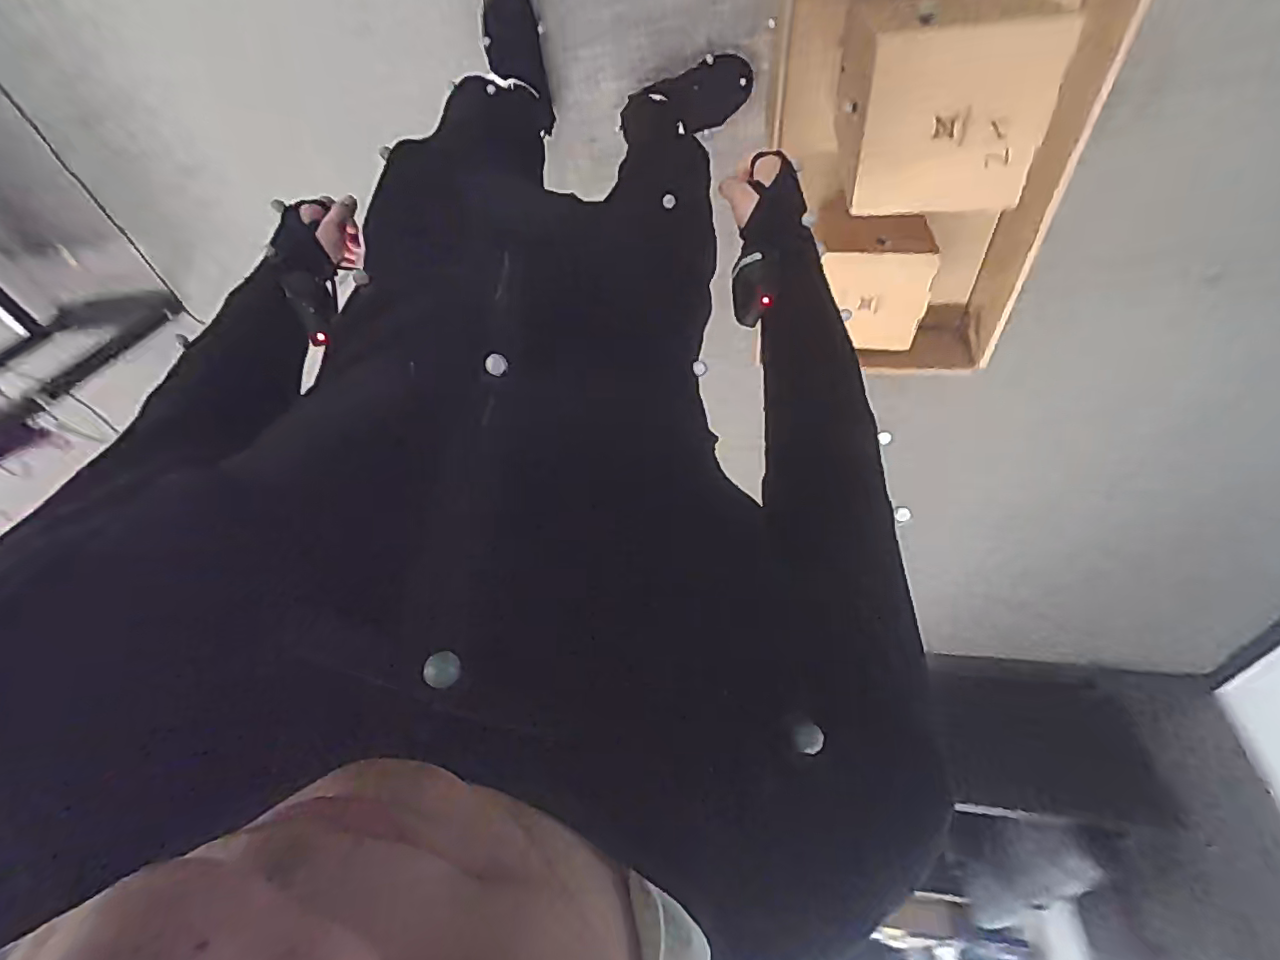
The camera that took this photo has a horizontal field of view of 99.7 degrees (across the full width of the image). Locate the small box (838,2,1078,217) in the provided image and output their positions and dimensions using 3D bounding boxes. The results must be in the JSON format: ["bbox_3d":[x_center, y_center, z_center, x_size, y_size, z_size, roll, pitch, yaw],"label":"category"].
[{"bbox_3d":[0.328,-0.414,0.608,0.179,0.176,0.168,4,138,11],"label":"small box"}]
